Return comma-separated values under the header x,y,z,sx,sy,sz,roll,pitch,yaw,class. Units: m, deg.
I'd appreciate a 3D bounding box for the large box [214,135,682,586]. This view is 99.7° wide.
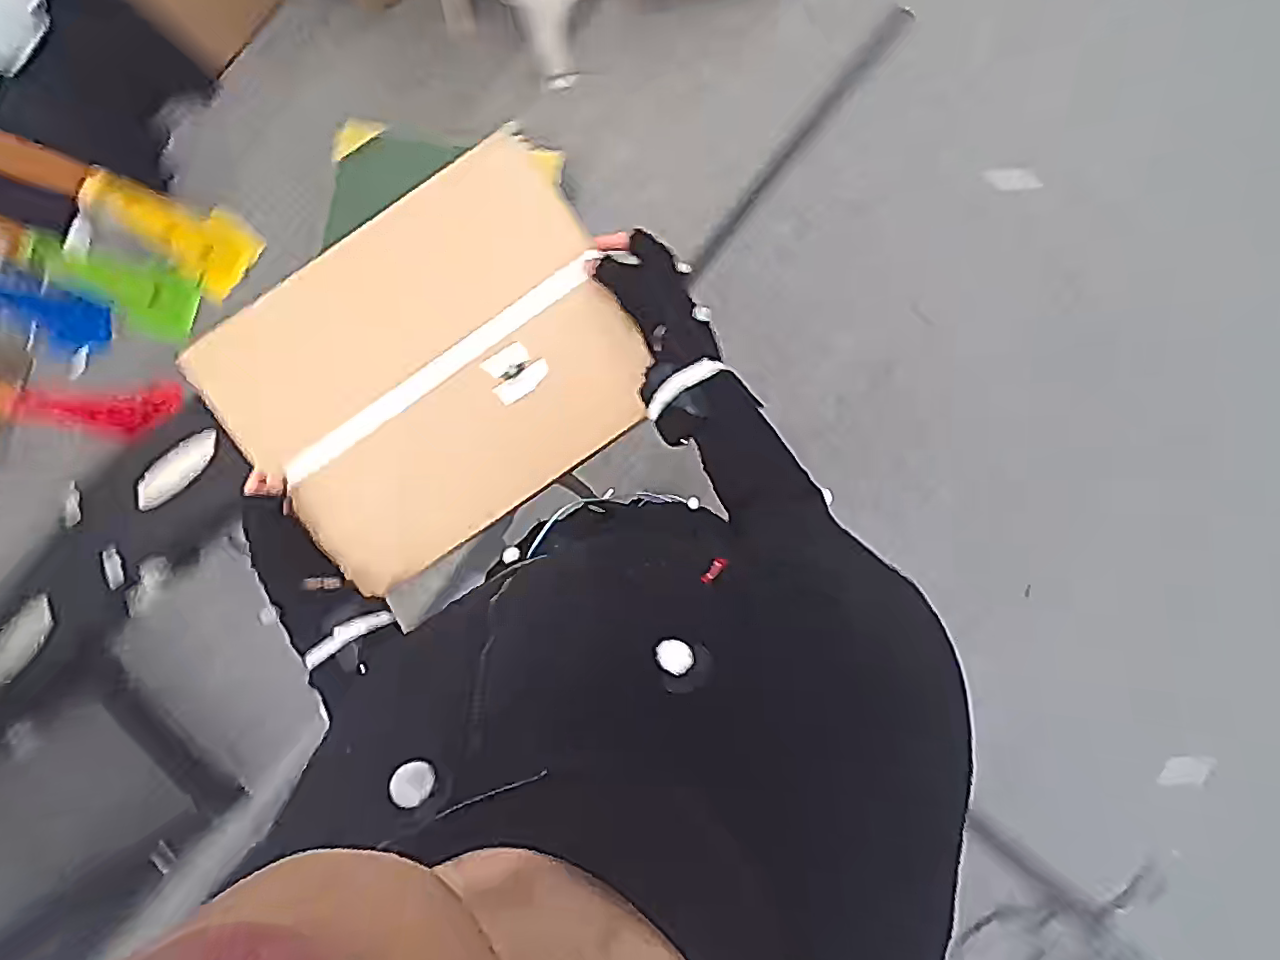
x,y,z,sx,sy,sz,roll,pitch,yaw,class
-0.204,-0.129,0.715,0.408,0.320,0.320,-34,95,1,large box
